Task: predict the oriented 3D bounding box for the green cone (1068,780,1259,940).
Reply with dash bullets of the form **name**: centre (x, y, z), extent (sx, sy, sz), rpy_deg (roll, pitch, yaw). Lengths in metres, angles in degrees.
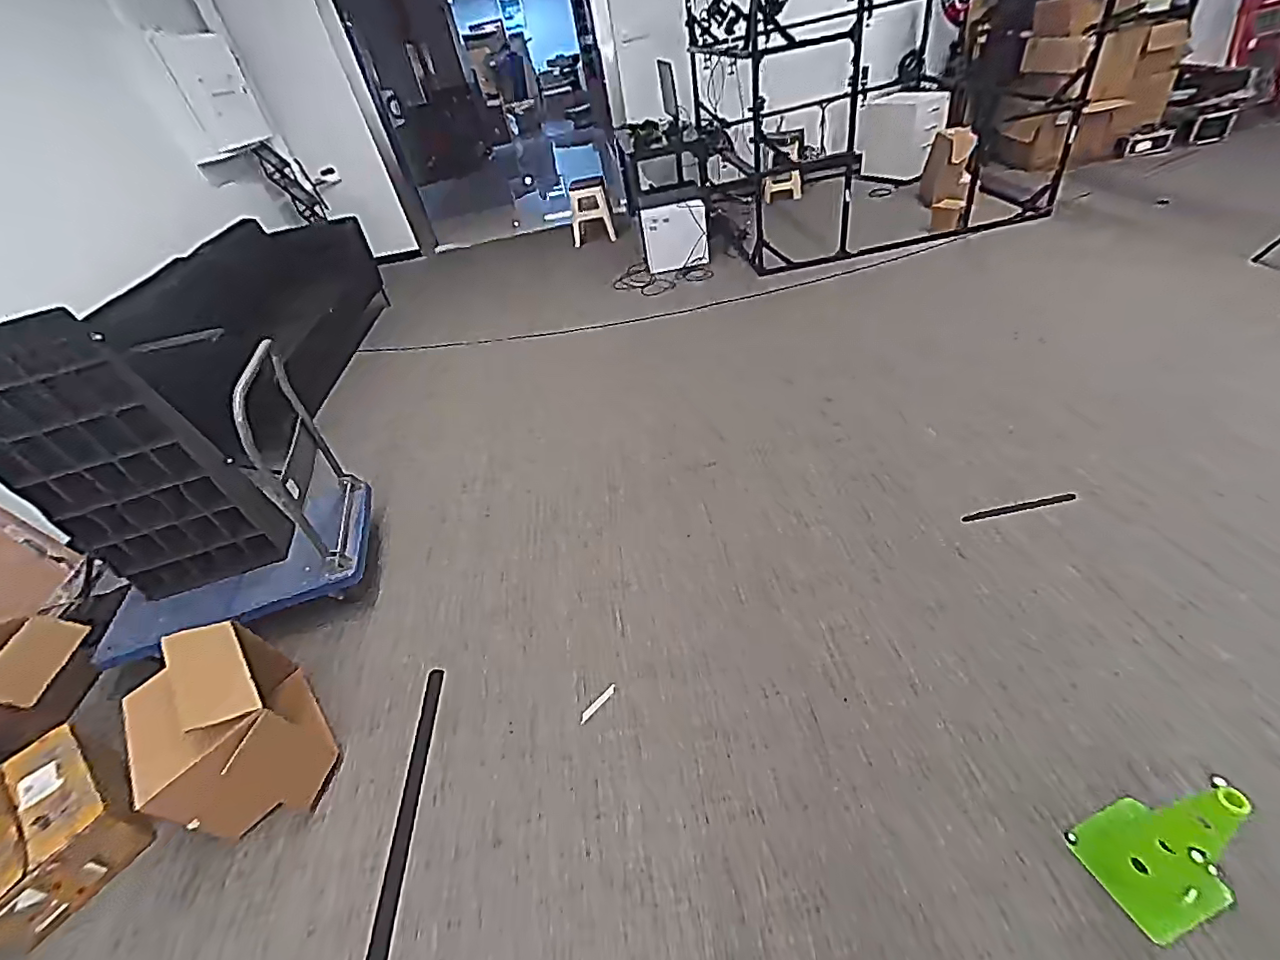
- **green cone**: centre (0.992, 0.641, 0.977), extent (0.202, 0.368, 0.200), rpy_deg (-20, 41, -11)
